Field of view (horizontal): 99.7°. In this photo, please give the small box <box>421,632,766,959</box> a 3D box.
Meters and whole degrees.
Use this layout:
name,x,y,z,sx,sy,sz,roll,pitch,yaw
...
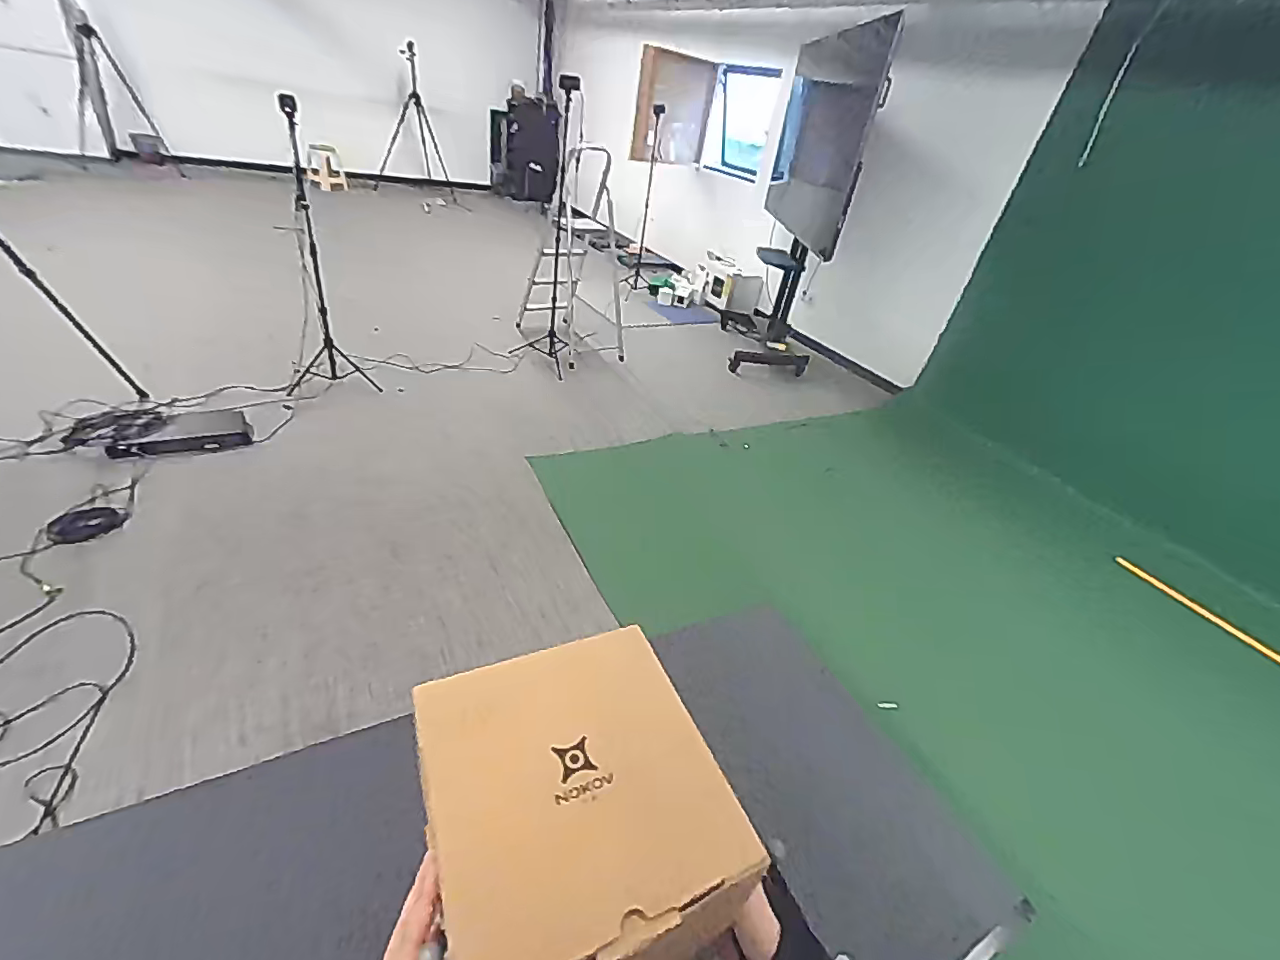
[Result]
name,x,y,z,sx,sy,sz,roll,pitch,yaw
small box,-0.049,0.241,0.370,0.168,0.176,0.179,-9,38,-26
